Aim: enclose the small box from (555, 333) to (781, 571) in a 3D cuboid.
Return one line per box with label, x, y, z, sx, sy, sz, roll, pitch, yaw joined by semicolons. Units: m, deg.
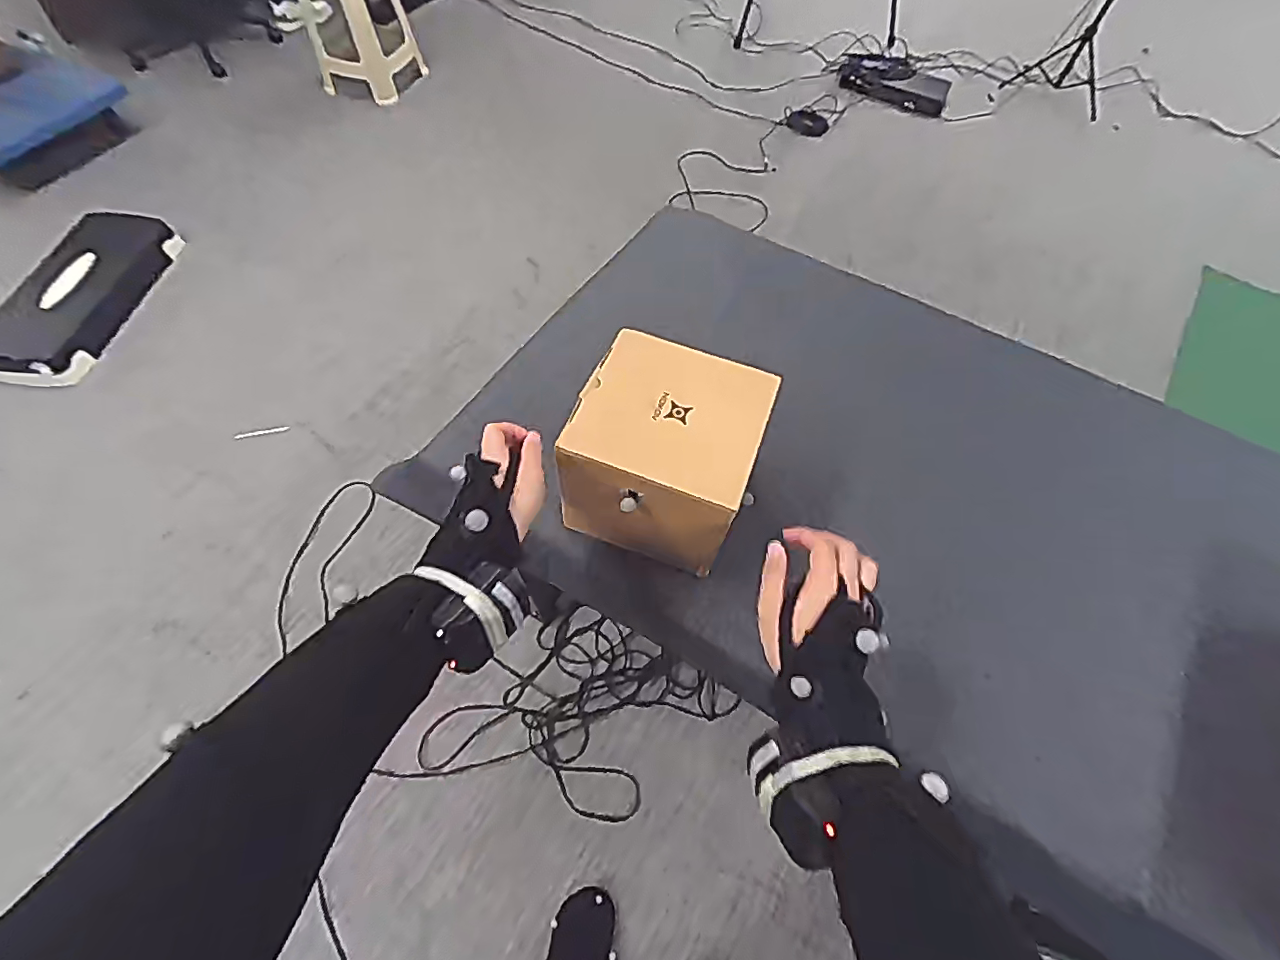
small box;0.029;-0.021;0.580;0.179;0.176;0.168;19;60;9
